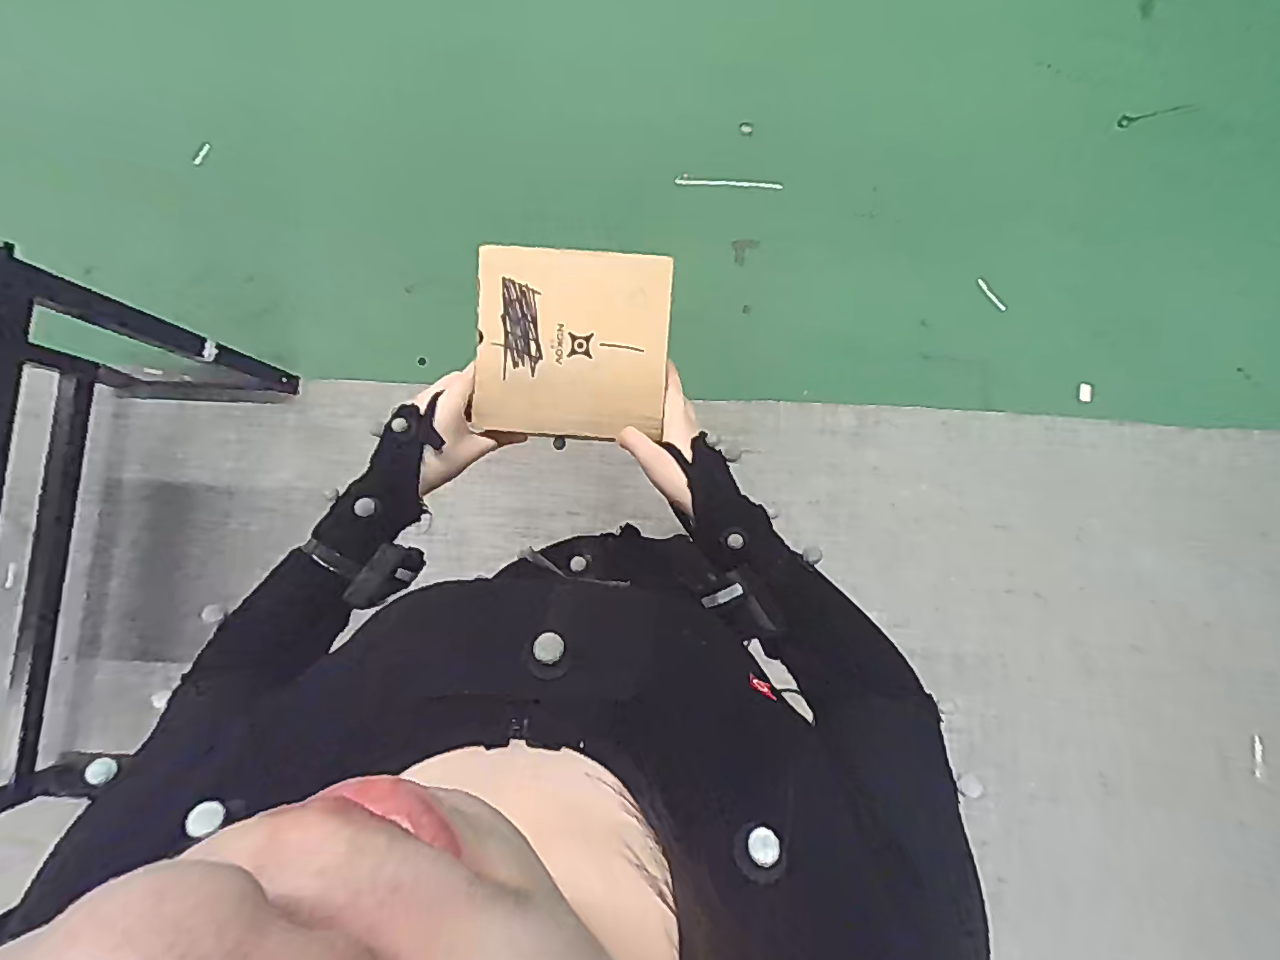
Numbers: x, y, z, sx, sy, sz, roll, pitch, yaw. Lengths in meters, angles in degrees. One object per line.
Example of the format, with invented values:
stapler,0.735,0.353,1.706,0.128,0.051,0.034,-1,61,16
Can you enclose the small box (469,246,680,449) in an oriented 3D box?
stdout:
small box,-0.058,-0.120,0.552,0.179,0.176,0.168,5,93,0
